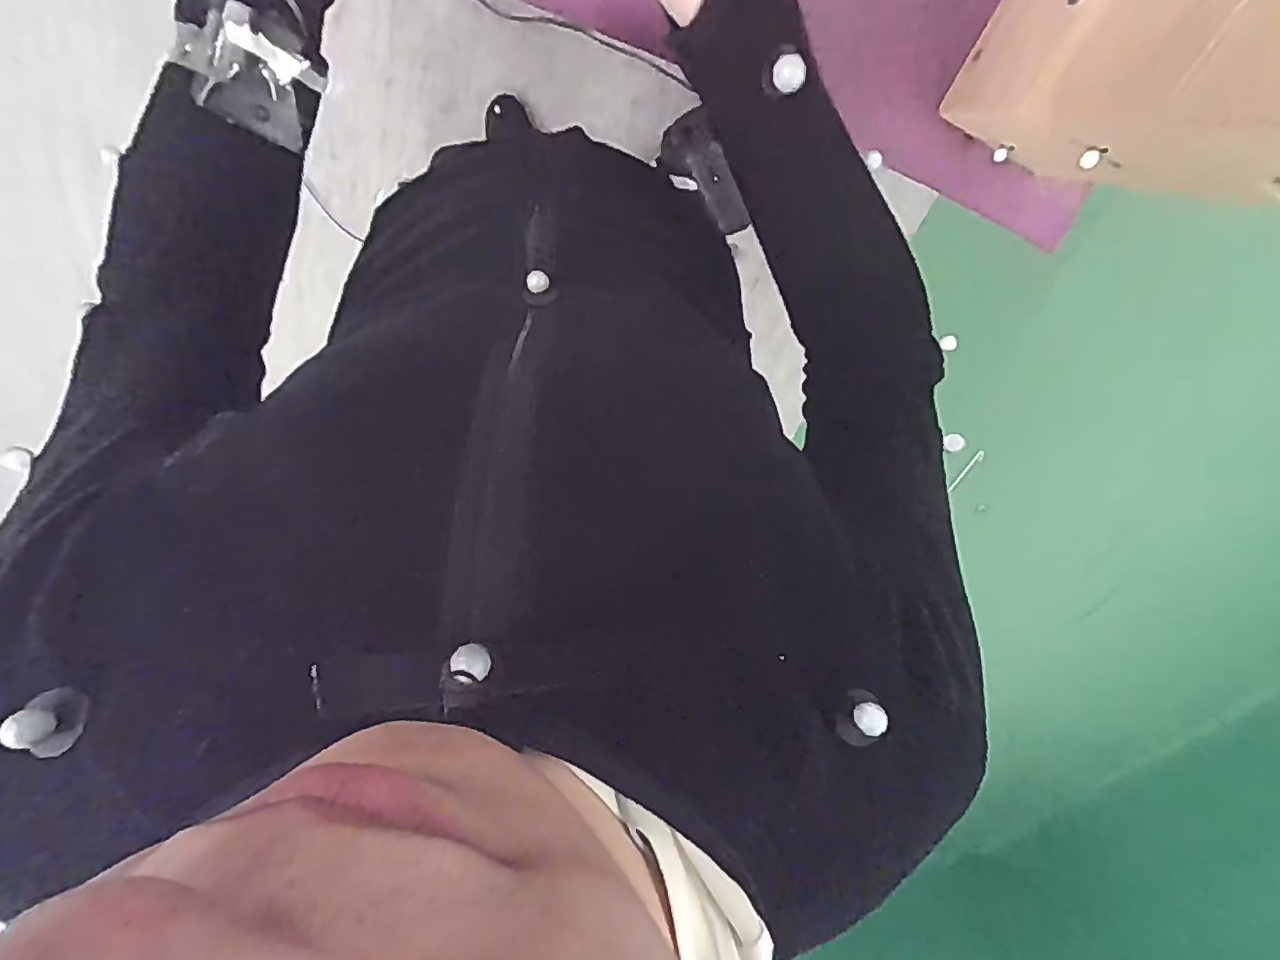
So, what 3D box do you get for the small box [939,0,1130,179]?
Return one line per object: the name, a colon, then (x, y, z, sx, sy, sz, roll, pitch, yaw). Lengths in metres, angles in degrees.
small box: (0.478, -0.457, 0.585, 0.179, 0.176, 0.168, 18, 121, -15)
